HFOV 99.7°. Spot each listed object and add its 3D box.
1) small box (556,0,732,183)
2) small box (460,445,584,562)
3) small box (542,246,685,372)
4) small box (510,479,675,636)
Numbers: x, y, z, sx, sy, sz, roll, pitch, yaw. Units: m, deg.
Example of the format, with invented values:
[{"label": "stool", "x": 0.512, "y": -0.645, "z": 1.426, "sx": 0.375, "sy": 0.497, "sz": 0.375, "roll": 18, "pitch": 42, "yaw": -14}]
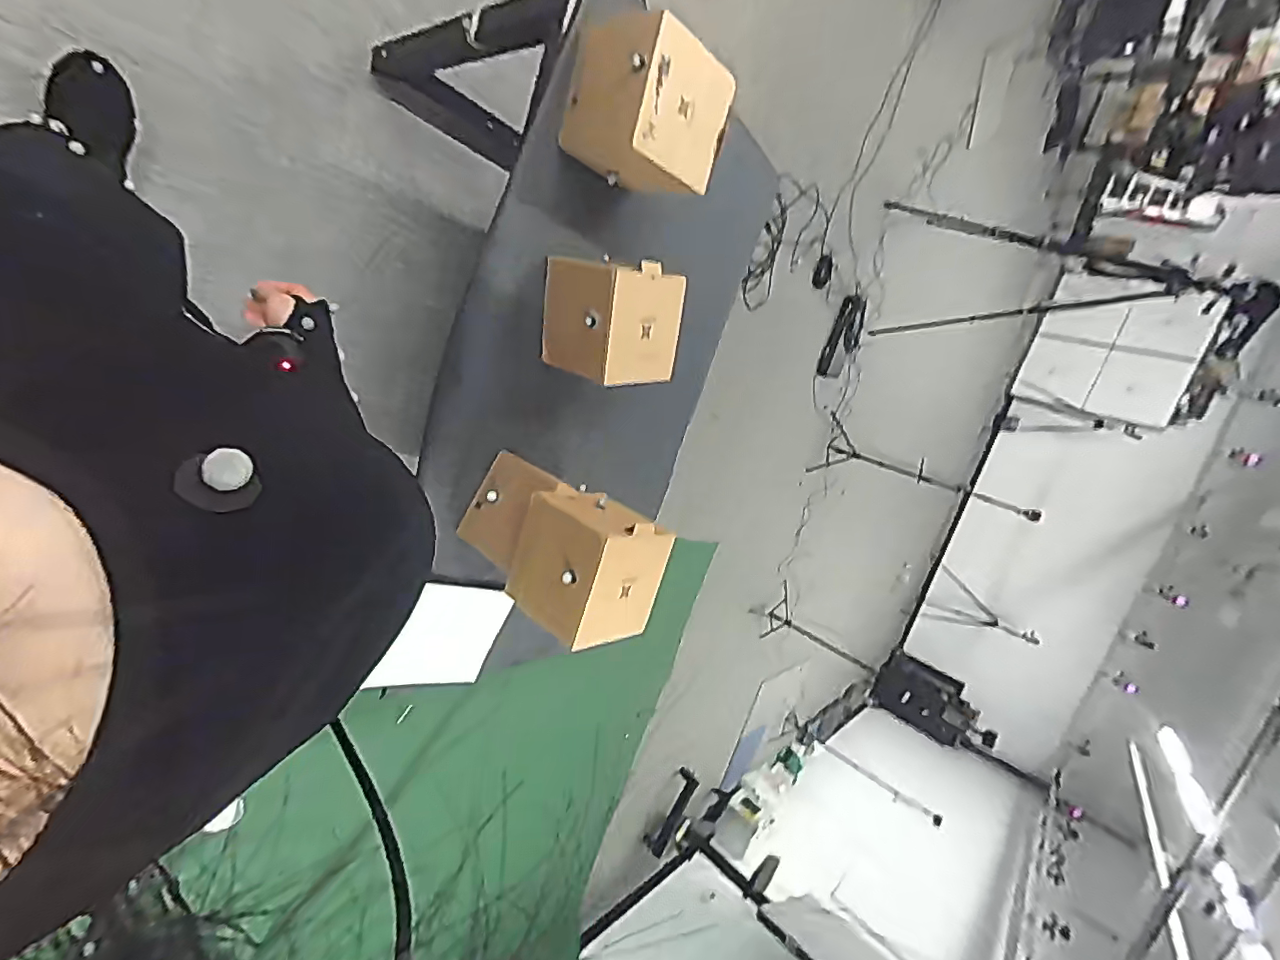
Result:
[{"label": "small box", "x": 0.004, "y": -0.572, "z": 0.814, "sx": 0.179, "sy": 0.176, "sz": 0.168, "roll": -1, "pitch": 112, "yaw": -49}, {"label": "small box", "x": -0.179, "y": 0.056, "z": 0.959, "sx": 0.179, "sy": 0.176, "sz": 0.168, "roll": 32, "pitch": 85, "yaw": -52}, {"label": "small box", "x": -0.050, "y": -0.291, "z": 0.916, "sx": 0.168, "sy": 0.176, "sz": 0.179, "roll": -15, "pitch": 123, "yaw": -43}, {"label": "small box", "x": -0.079, "y": 0.113, "z": 0.842, "sx": 0.168, "sy": 0.176, "sz": 0.179, "roll": 4, "pitch": 106, "yaw": -51}]
